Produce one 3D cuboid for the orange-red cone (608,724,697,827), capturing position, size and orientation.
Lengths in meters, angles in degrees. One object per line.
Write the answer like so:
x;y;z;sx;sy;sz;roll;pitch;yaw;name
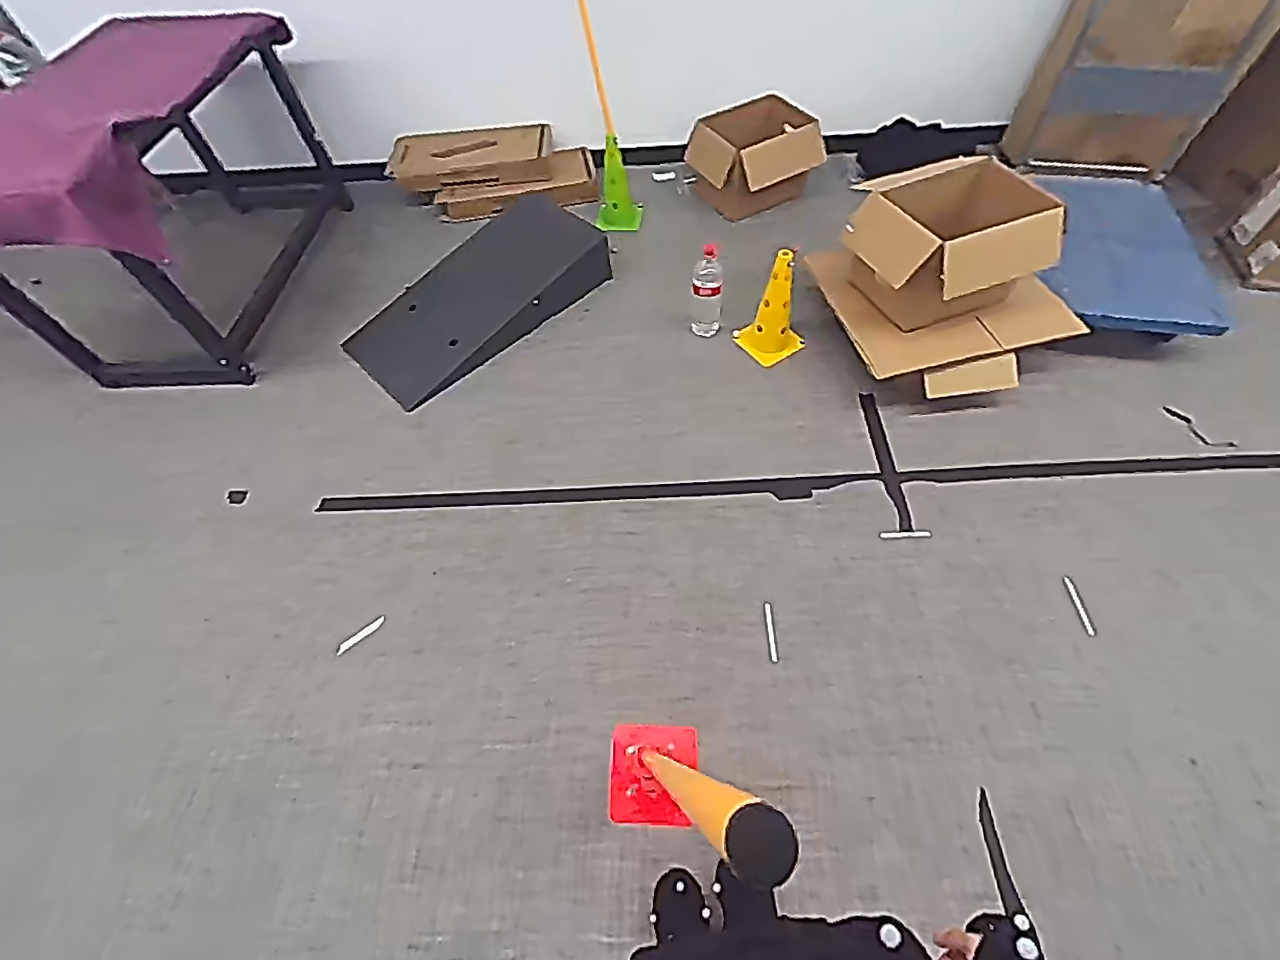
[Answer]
0.022;0.566;1.076;0.198;0.360;0.199;1;56;4;orange-red cone
